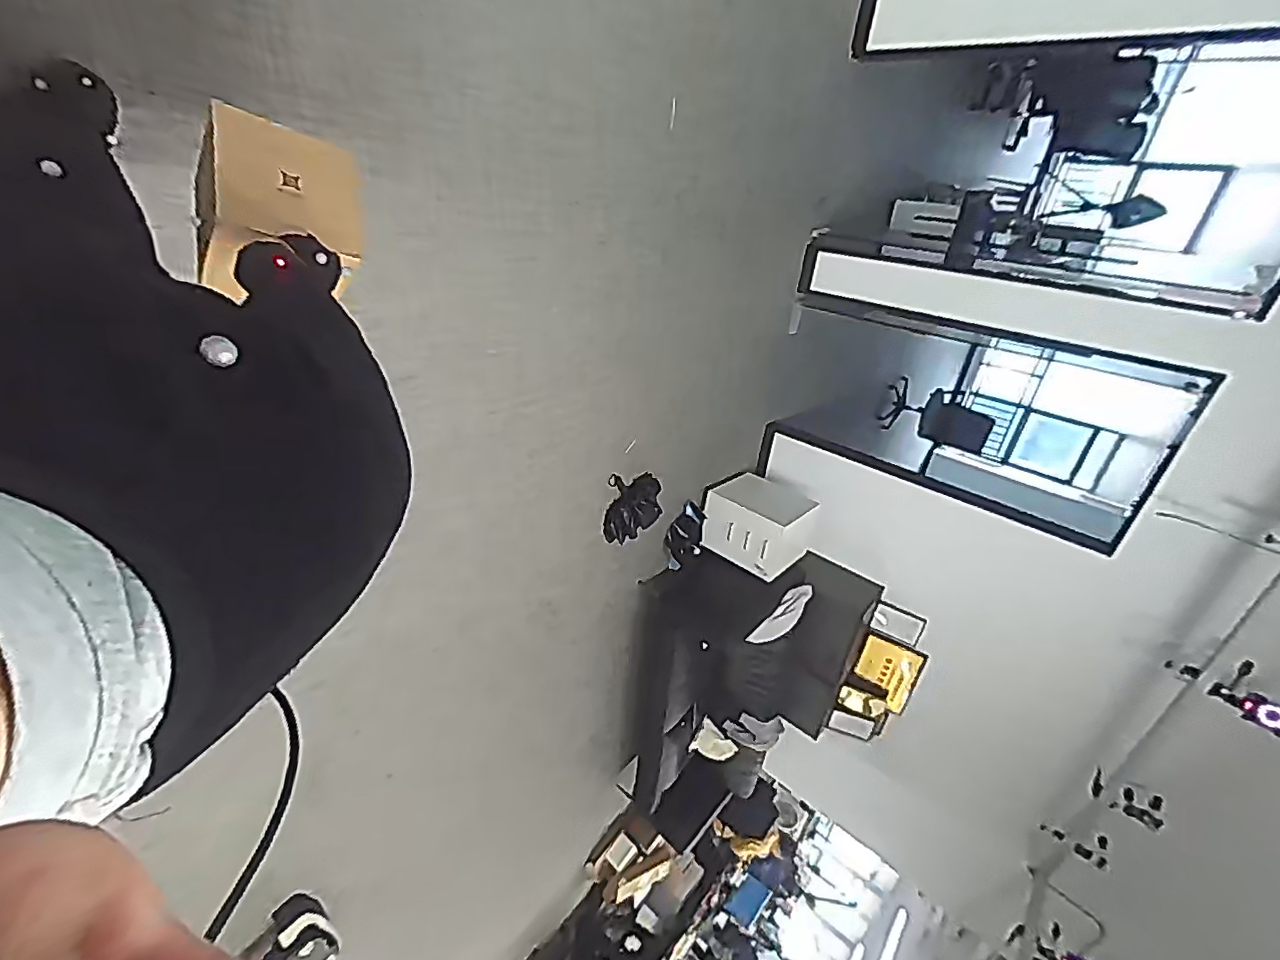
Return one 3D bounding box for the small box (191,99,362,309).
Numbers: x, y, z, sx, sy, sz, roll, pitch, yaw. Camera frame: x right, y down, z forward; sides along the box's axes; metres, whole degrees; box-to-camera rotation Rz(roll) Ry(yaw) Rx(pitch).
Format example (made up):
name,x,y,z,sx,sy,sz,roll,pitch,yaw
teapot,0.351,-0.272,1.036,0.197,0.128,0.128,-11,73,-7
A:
name,x,y,z,sx,sy,sz,roll,pitch,yaw
small box,-0.512,-0.365,0.758,0.168,0.176,0.179,-1,76,-47
